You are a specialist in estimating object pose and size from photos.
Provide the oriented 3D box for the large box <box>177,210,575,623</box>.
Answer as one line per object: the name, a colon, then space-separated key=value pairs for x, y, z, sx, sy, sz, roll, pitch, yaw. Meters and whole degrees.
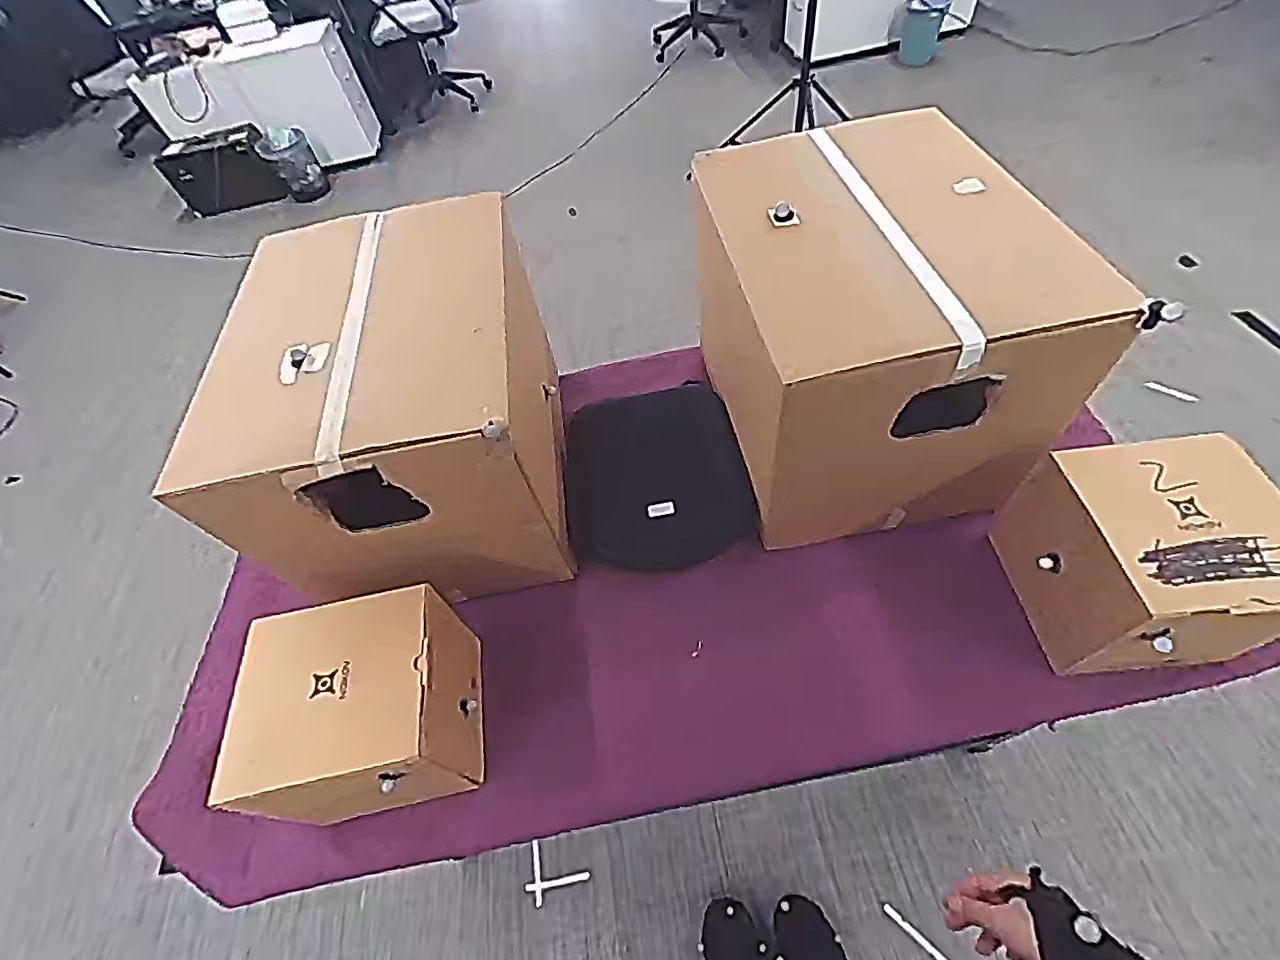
large box: x=-0.282 y=-0.077 z=0.709 sx=0.320 sy=0.320 sz=0.408 roll=-12 pitch=57 yaw=0
